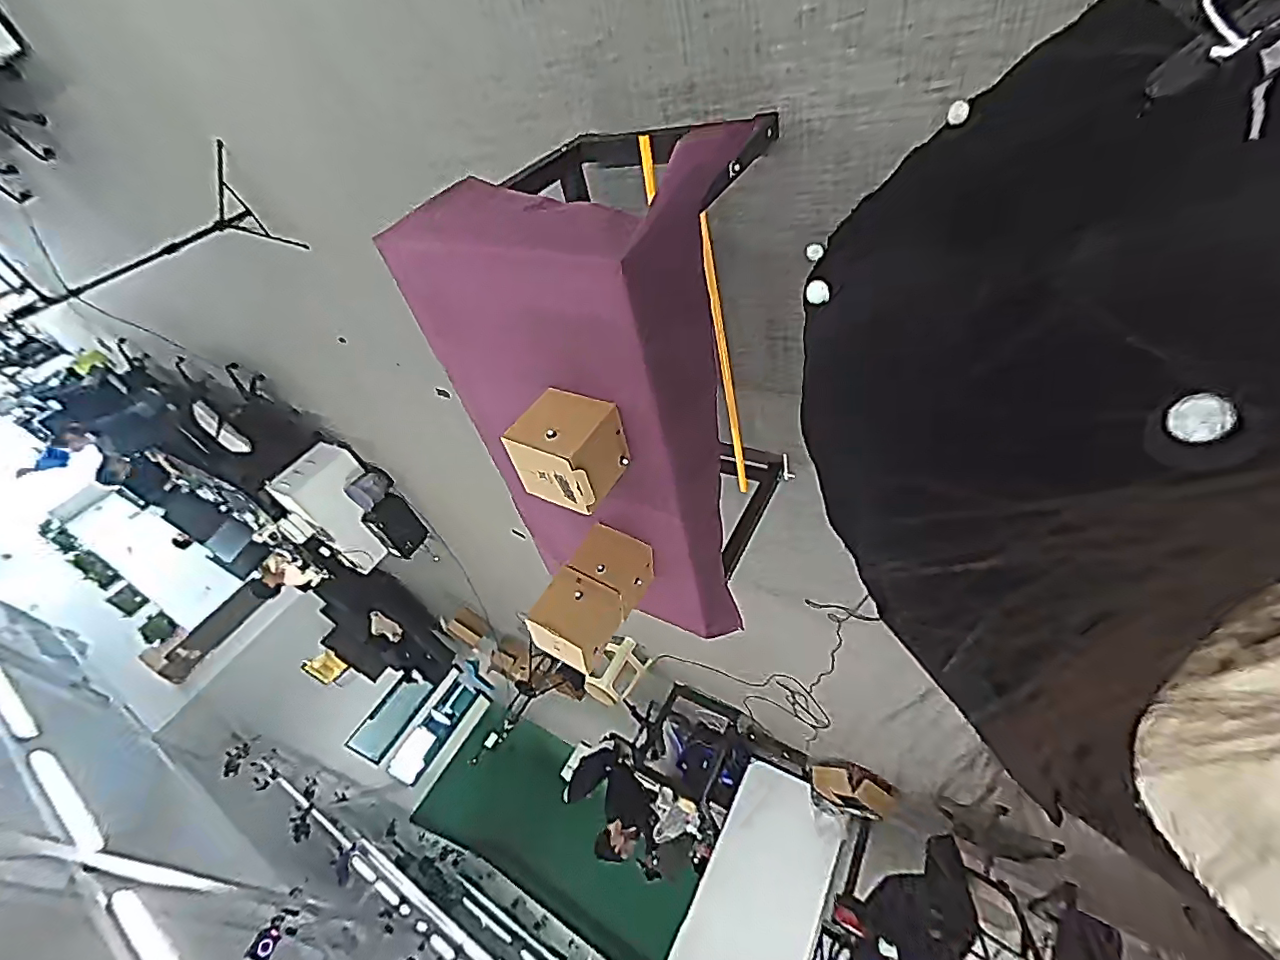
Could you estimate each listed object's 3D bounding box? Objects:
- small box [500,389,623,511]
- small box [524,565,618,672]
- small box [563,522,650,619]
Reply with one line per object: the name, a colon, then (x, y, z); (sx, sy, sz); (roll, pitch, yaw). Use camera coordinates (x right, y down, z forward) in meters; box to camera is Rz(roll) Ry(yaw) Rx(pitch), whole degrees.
small box: (-0.149, -0.068, 1.121); (0.179, 0.176, 0.168); (18, 144, 27)
small box: (-0.165, 0.348, 1.372); (0.168, 0.176, 0.179); (23, 145, 18)
small box: (-0.082, 0.240, 1.463); (0.179, 0.176, 0.168); (23, 145, 20)
